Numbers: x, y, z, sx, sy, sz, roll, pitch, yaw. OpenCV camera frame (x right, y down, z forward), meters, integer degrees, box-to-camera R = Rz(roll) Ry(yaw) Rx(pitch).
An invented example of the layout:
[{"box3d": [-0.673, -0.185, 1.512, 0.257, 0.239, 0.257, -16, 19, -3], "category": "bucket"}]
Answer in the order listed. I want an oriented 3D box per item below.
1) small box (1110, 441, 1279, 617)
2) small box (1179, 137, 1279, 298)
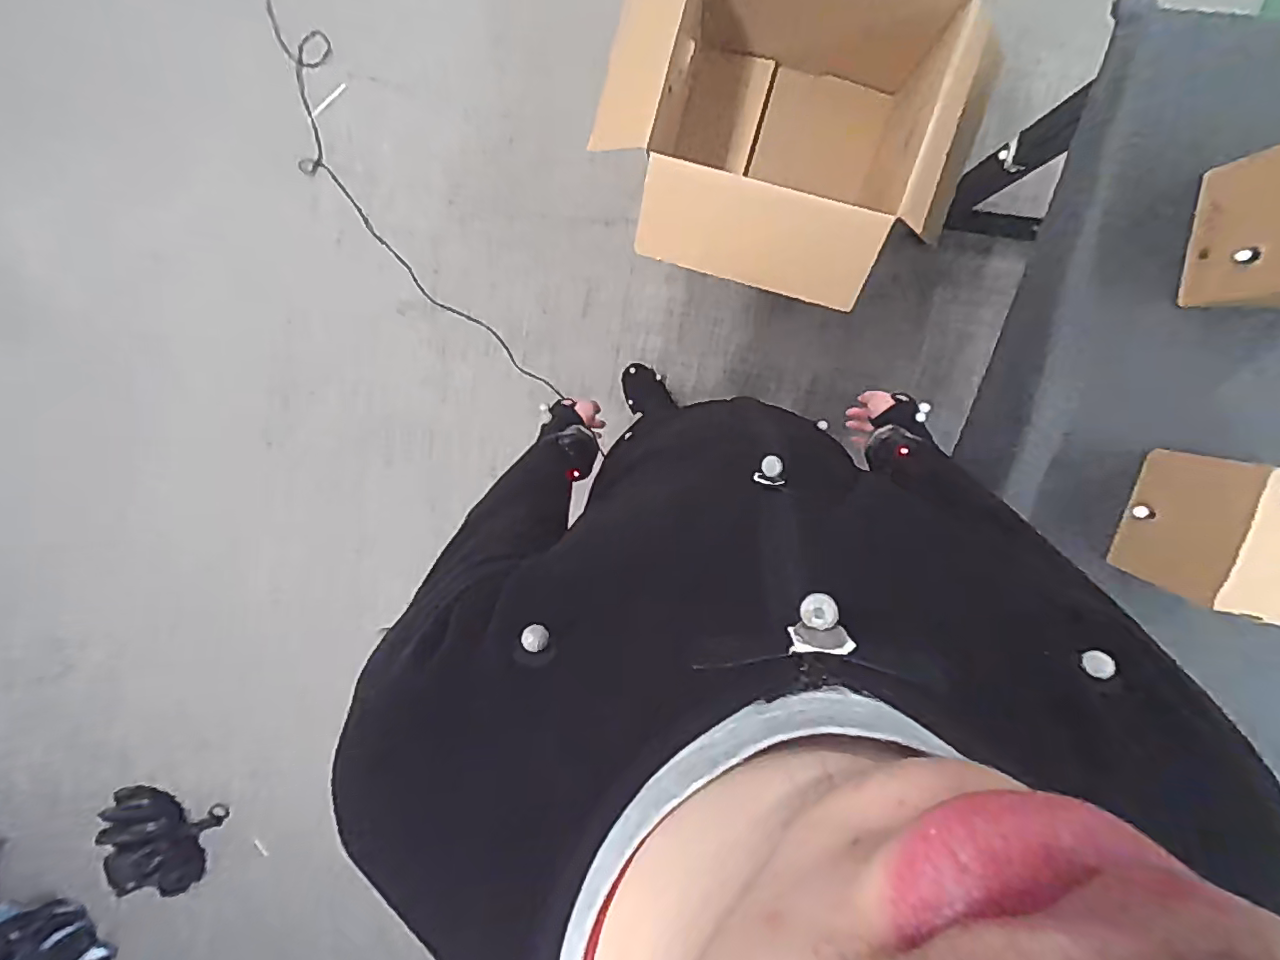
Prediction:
[{"box3d": [0.765, 0.059, 0.693, 0.168, 0.176, 0.179, 12, 103, 2], "category": "small box"}, {"box3d": [0.790, -0.302, 0.618, 0.179, 0.176, 0.168, 1, 103, 2], "category": "small box"}]
